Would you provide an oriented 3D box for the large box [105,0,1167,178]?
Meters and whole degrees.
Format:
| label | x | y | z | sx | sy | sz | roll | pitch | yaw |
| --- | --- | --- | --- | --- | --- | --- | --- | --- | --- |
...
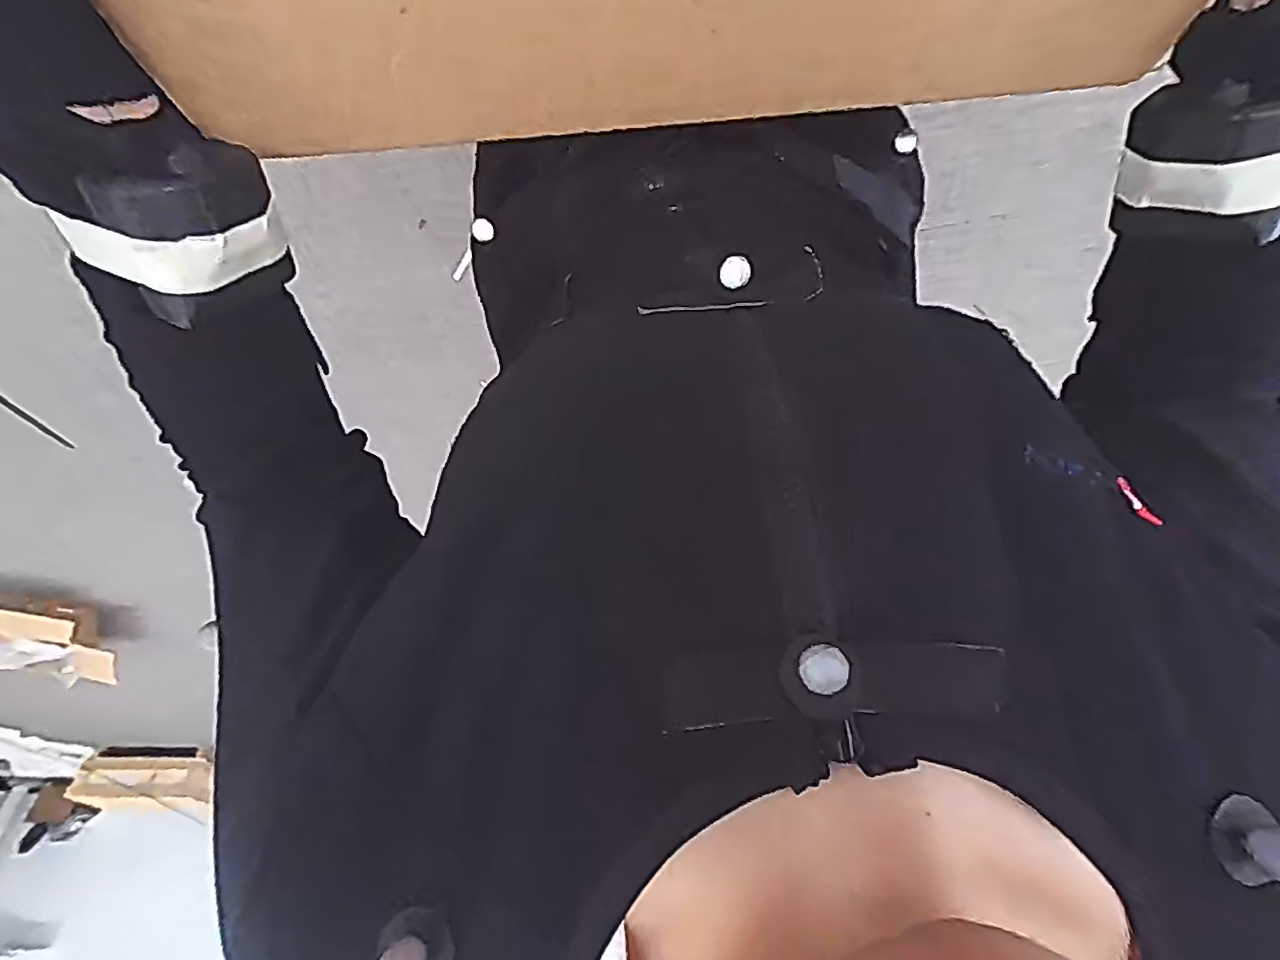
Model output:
| label | x | y | z | sx | sy | sz | roll | pitch | yaw |
| --- | --- | --- | --- | --- | --- | --- | --- | --- | --- |
| large box | 0.001 | -0.348 | 0.151 | 0.408 | 0.320 | 0.320 | -6 | 163 | 0 |
